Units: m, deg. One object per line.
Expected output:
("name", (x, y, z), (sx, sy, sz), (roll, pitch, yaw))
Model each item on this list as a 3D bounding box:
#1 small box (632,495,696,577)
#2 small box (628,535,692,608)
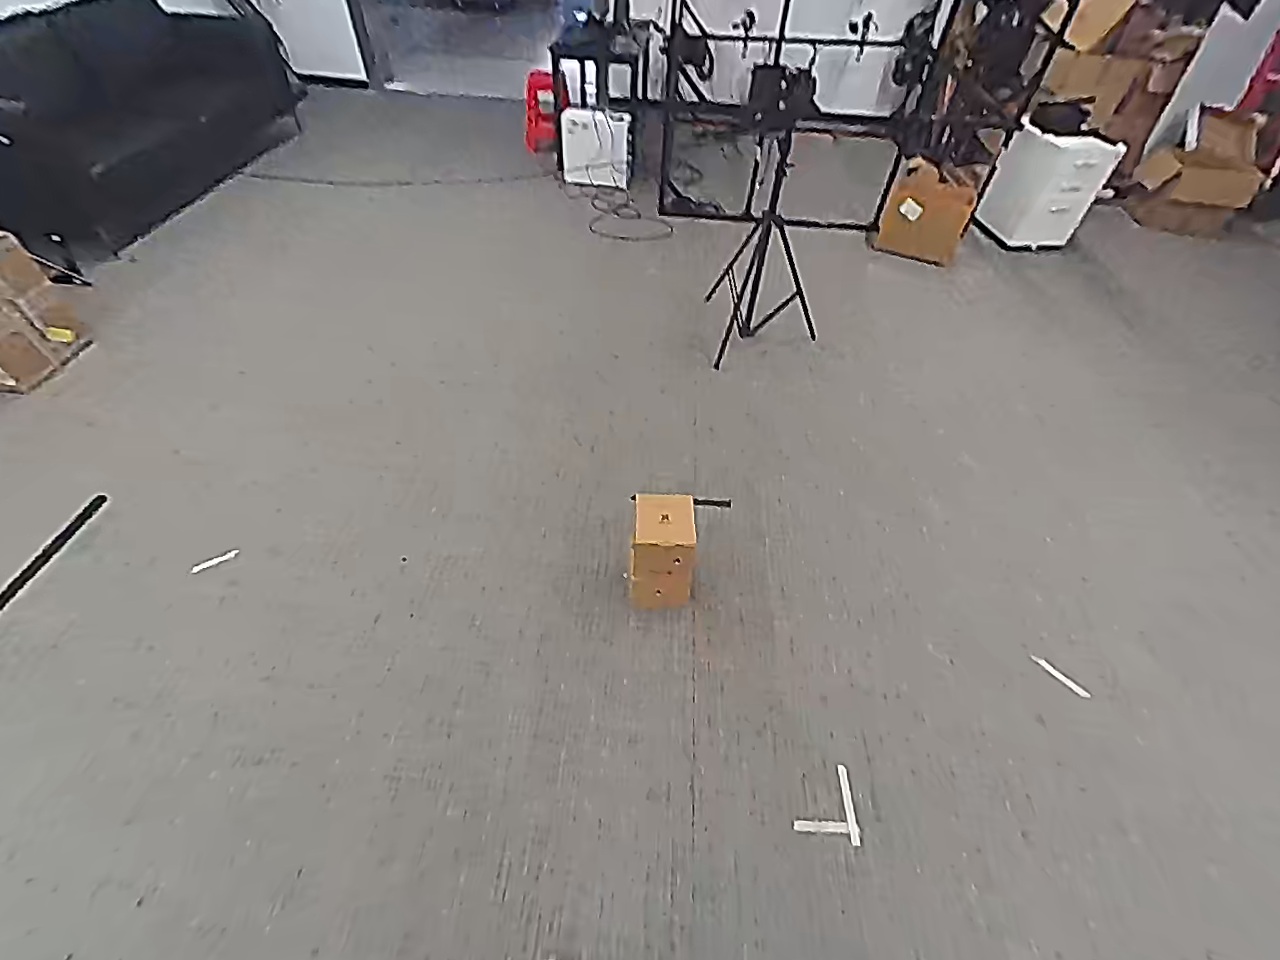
("small box", (0.066, 0.163, 1.552), (0.168, 0.176, 0.179), (2, 47, -3))
("small box", (0.055, 0.281, 1.664), (0.179, 0.176, 0.168), (-2, 48, -4))
